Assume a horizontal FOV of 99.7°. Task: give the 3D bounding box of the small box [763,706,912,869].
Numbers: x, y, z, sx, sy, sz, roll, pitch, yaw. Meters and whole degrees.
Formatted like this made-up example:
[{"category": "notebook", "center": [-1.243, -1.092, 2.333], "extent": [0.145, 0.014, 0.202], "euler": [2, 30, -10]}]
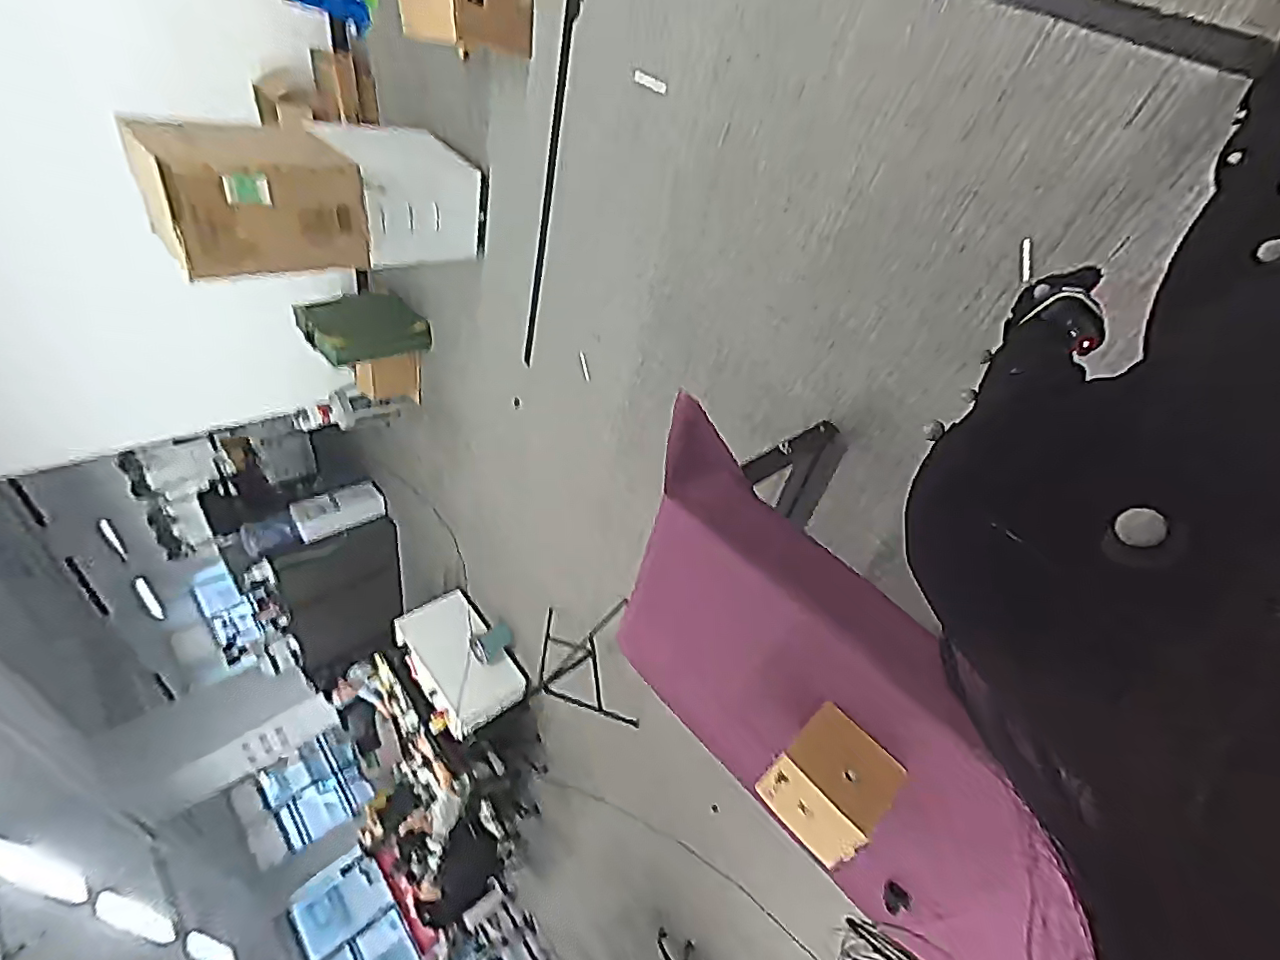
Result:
[{"category": "small box", "center": [0.370, 0.567, 1.012], "extent": [0.179, 0.176, 0.168], "euler": [39, 135, 29]}]
